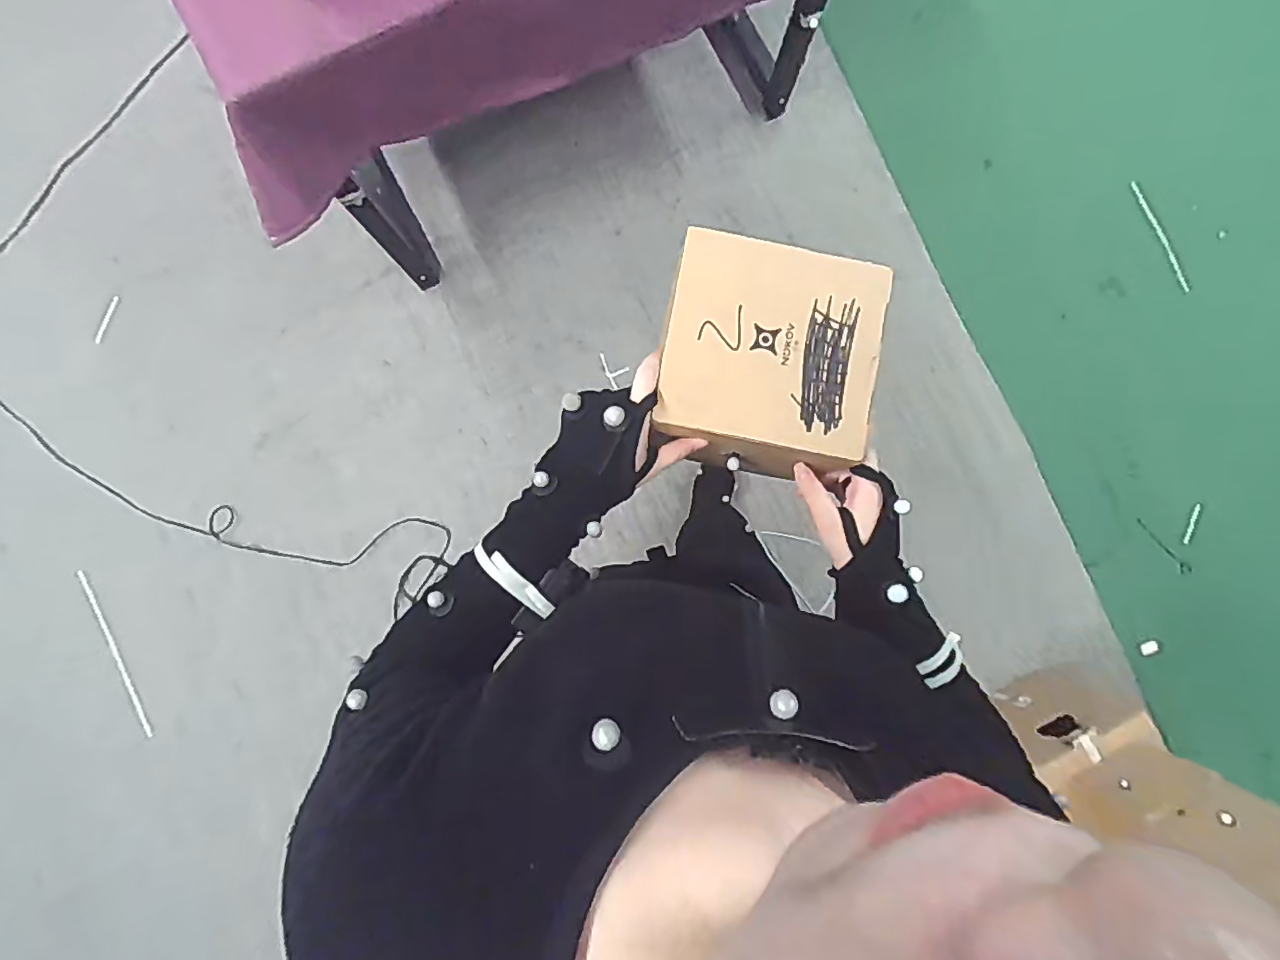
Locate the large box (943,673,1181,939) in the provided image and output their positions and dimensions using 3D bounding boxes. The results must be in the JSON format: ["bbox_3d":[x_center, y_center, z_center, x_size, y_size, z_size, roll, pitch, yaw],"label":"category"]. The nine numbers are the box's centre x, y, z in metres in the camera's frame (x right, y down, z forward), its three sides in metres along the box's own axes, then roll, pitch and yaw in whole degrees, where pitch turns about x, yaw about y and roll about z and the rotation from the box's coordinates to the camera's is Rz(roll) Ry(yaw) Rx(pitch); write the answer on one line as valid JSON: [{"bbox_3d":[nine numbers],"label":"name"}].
[{"bbox_3d":[1.055,0.767,1.341,0.320,0.320,0.408,-25,89,-3],"label":"large box"}]

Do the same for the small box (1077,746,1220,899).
[{"bbox_3d":[1.048,0.684,1.101,0.179,0.176,0.168,-26,88,-5],"label":"small box"}]

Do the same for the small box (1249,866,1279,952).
[{"bbox_3d":[1.060,0.670,0.773,0.168,0.176,0.179,-29,88,-3],"label":"small box"}]
